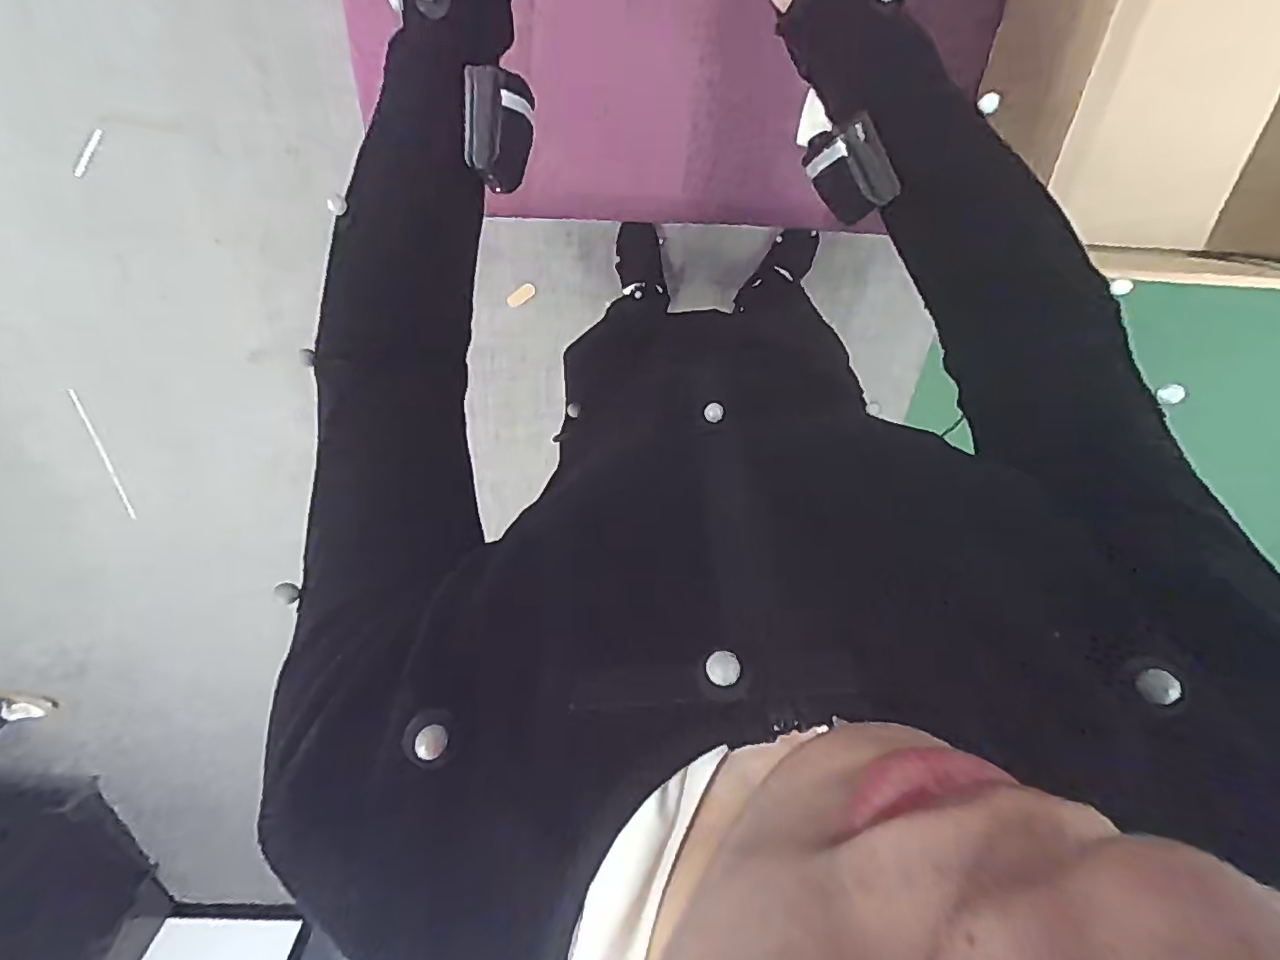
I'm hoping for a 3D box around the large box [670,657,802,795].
[{"bbox_3d":[0.375,0.990,2.183,0.408,0.320,0.320,-27,118,13],"label":"large box"}]

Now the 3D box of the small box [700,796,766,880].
[{"bbox_3d":[0.310,1.214,1.837,0.179,0.176,0.168,-22,118,12],"label":"small box"}]
